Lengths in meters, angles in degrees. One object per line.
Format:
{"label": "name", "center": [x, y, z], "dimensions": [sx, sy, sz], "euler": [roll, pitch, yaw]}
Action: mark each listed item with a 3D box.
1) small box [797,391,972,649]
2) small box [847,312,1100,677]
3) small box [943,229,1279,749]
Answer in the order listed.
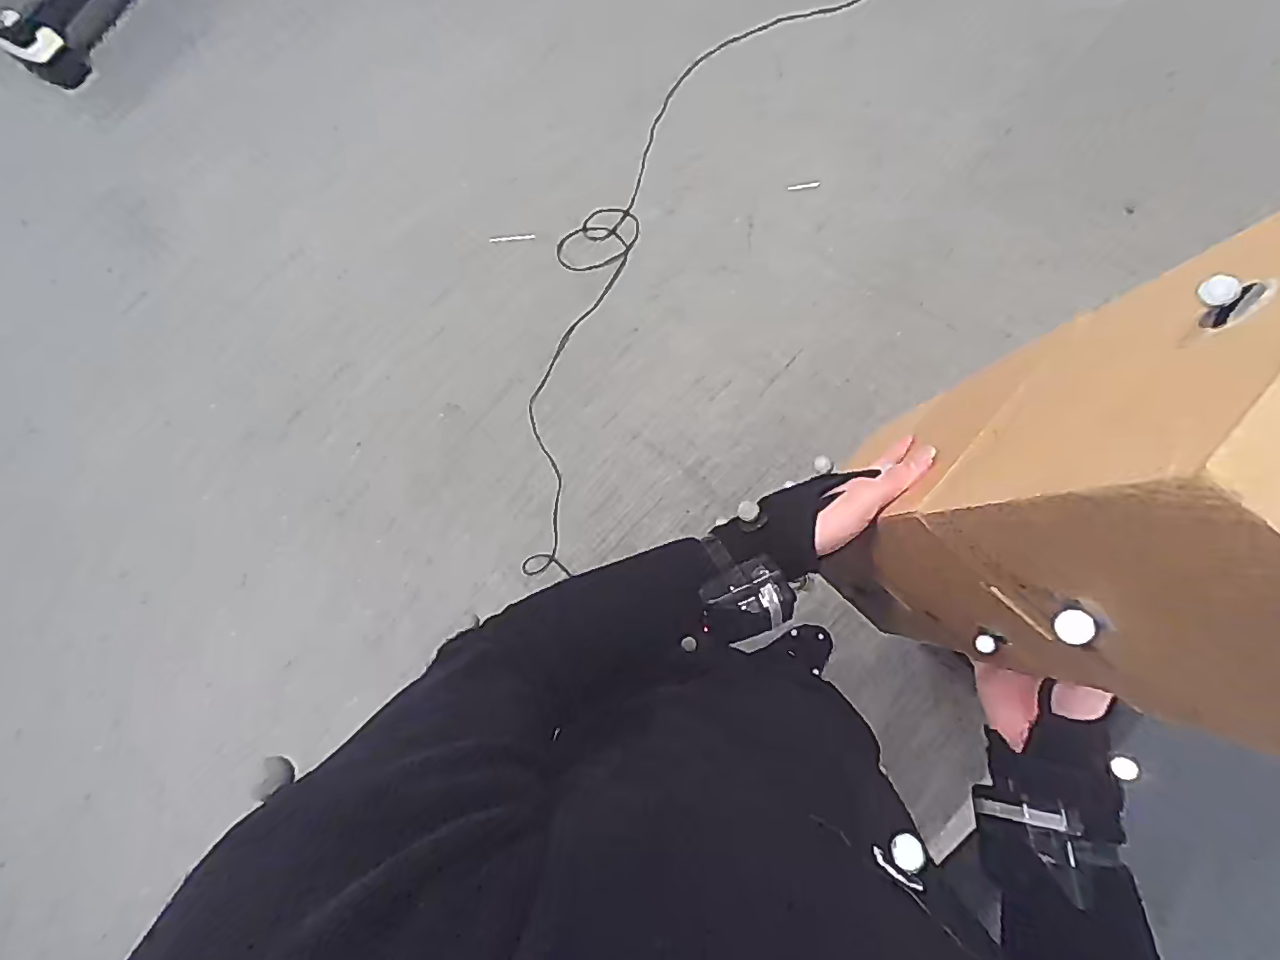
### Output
{"label": "small box", "center": [0.286, 0.045, 0.562], "dimensions": [0.168, 0.176, 0.179], "euler": [43, 84, 7]}
{"label": "small box", "center": [0.282, 0.021, 0.401], "dimensions": [0.168, 0.176, 0.179], "euler": [41, 82, 5]}
{"label": "small box", "center": [0.282, 0.002, 0.238], "dimensions": [0.168, 0.176, 0.179], "euler": [43, 85, 6]}
